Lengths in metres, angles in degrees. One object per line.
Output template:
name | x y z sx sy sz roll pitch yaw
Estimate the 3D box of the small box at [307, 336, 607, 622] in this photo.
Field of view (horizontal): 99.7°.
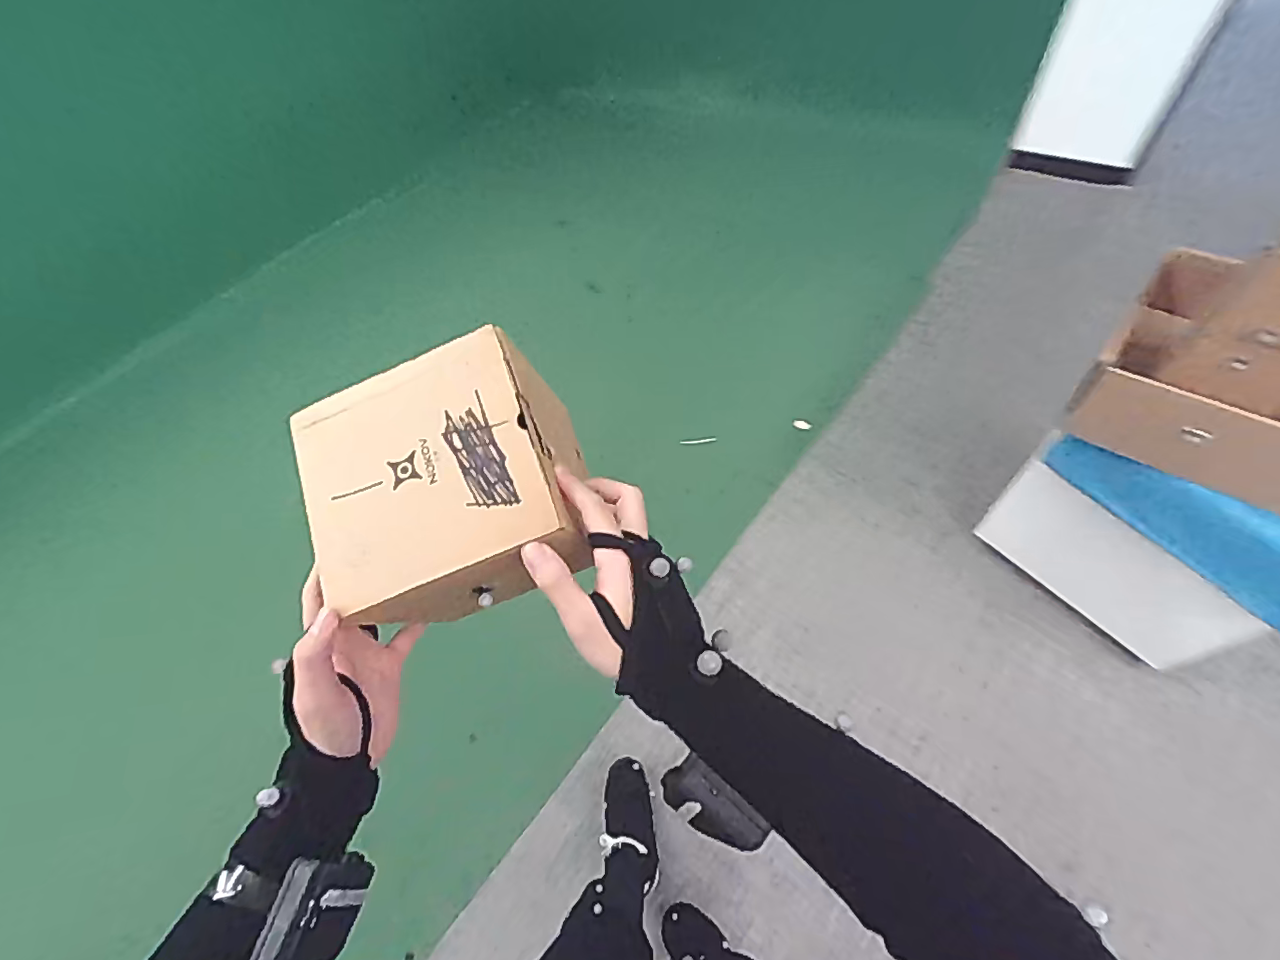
small box | -0.137 0.014 0.462 0.179 0.176 0.168 -21 72 5
